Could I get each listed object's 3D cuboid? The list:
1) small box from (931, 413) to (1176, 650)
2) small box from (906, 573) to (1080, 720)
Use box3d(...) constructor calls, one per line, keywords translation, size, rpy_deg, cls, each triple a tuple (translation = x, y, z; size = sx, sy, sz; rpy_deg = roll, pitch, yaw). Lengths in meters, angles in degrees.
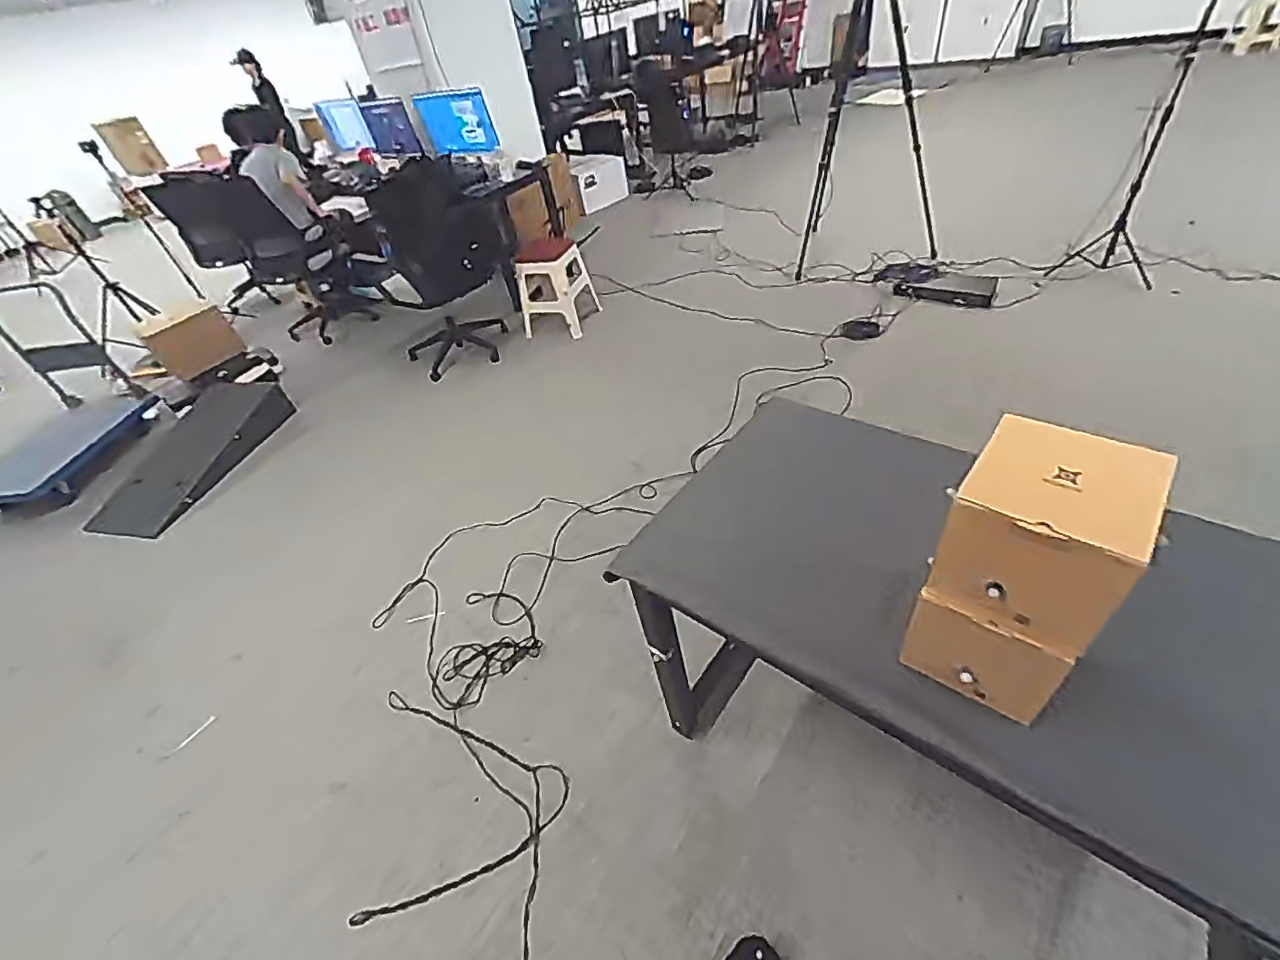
box3d(translation=(0.461, 0.055, 0.624), size=(0.168, 0.176, 0.179), rpy_deg=(25, 54, 34), cls="small box")
box3d(translation=(0.479, 0.179, 0.728), size=(0.168, 0.176, 0.179), rpy_deg=(24, 53, 34), cls="small box")
